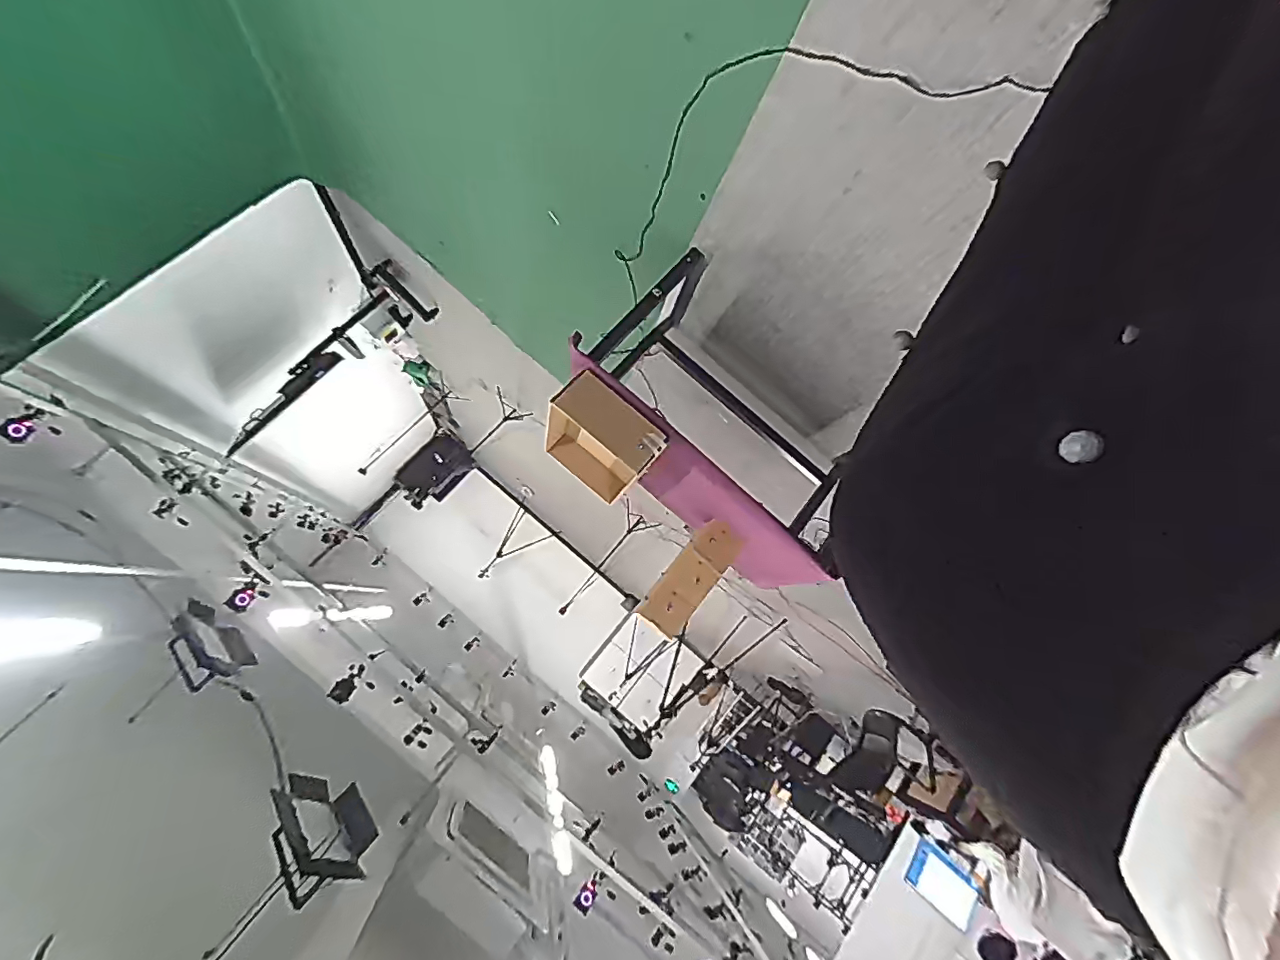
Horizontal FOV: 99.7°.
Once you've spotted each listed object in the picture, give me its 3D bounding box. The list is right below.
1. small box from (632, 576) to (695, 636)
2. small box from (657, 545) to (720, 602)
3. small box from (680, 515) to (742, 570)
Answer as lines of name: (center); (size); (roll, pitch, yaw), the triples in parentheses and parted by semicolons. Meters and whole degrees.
small box: (0.096, 0.498, 2.153); (0.168, 0.176, 0.179); (41, 162, 0)
small box: (0.200, 0.379, 2.196); (0.168, 0.176, 0.179); (41, 163, 0)
small box: (0.299, 0.262, 2.248); (0.168, 0.176, 0.179); (41, 163, -1)
